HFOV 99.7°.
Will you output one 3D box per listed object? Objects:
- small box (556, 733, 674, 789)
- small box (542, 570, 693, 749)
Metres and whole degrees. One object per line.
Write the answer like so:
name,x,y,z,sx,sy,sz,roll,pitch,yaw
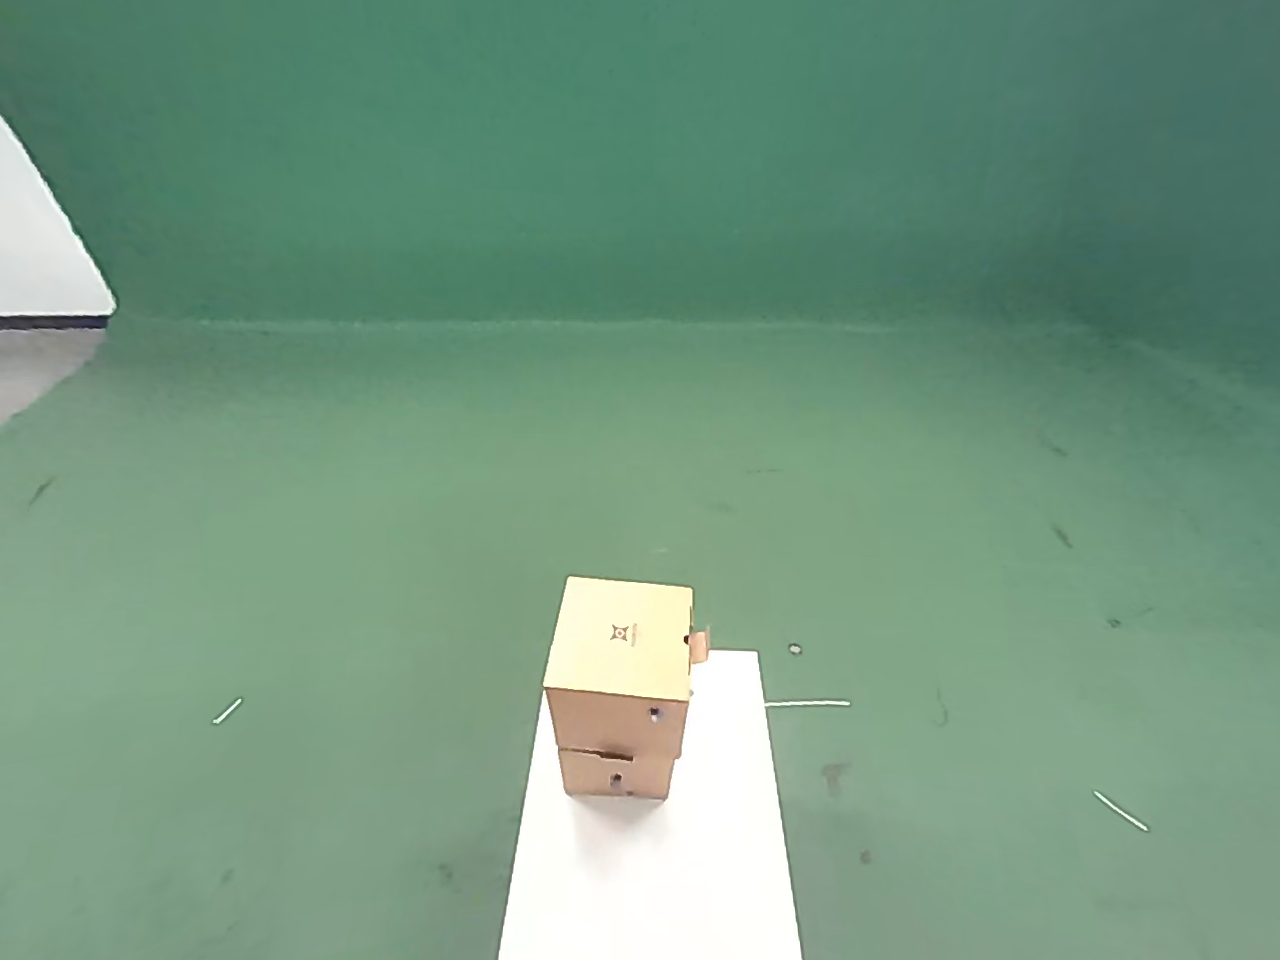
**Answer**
small box,-0.030,0.363,0.845,0.168,0.176,0.179,3,43,1
small box,-0.023,0.244,0.733,0.179,0.176,0.168,5,42,2
